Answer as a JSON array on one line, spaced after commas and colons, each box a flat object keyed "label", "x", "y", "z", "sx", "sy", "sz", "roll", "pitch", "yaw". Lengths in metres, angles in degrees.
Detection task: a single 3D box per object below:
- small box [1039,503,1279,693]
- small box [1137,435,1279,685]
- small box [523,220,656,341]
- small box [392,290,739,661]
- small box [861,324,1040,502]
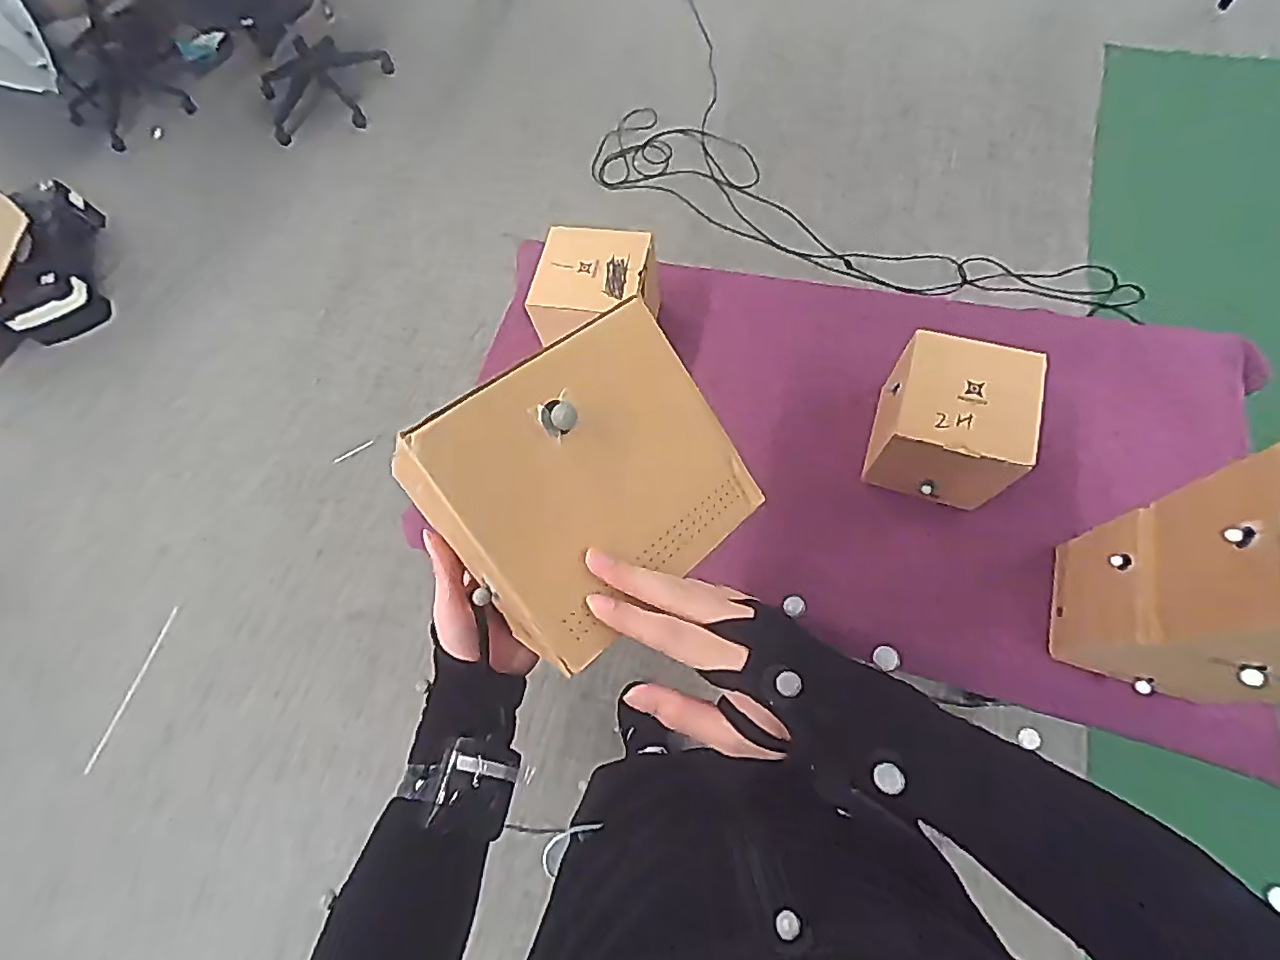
[{"label": "small box", "x": 0.642, "y": 0.151, "z": 0.667, "sx": 0.179, "sy": 0.176, "sz": 0.168, "roll": 16, "pitch": 70, "yaw": 12}, {"label": "small box", "x": 0.627, "y": 0.087, "z": 0.517, "sx": 0.168, "sy": 0.176, "sz": 0.179, "roll": 16, "pitch": 71, "yaw": 14}, {"label": "small box", "x": -0.073, "y": -0.312, "z": 0.927, "sx": 0.179, "sy": 0.176, "sz": 0.168, "roll": 9, "pitch": 70, "yaw": 10}, {"label": "small box", "x": -0.052, "y": -0.002, "z": 0.400, "sx": 0.179, "sy": 0.168, "sz": 0.176, "roll": -40, "pitch": 103, "yaw": -24}, {"label": "small box", "x": 0.438, "y": -0.091, "z": 0.785, "sx": 0.168, "sy": 0.176, "sz": 0.179, "roll": 17, "pitch": 72, "yaw": 13}]
